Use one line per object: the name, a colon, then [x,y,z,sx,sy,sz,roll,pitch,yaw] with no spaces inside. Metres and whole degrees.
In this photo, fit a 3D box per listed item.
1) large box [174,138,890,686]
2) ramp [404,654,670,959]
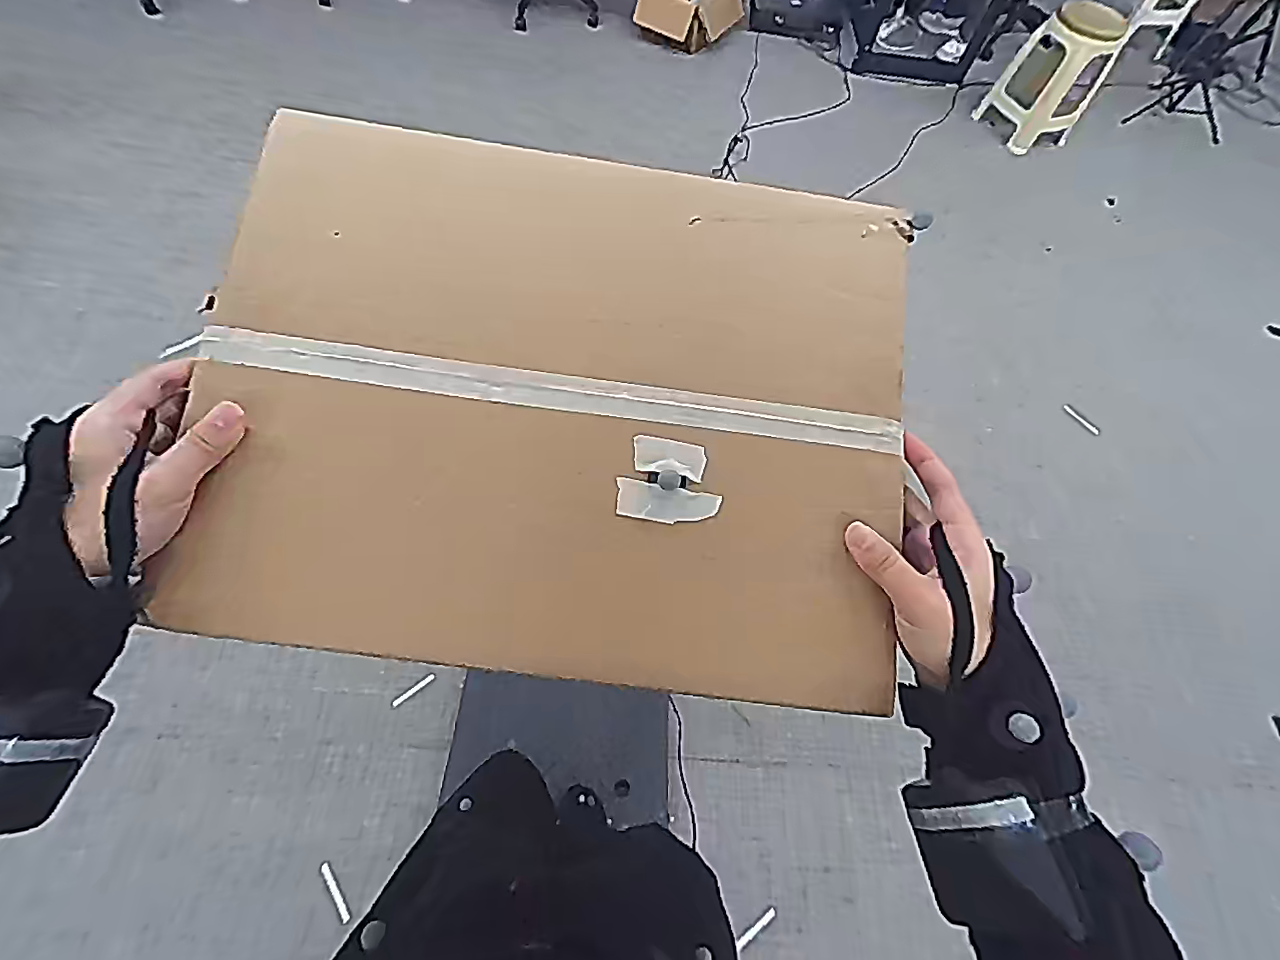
large box: [-0.054,-0.025,0.477,0.408,0.320,0.320,8,80,-3]
ramp: [-0.188,0.842,1.045,0.509,0.206,0.991,3,62,-2]
